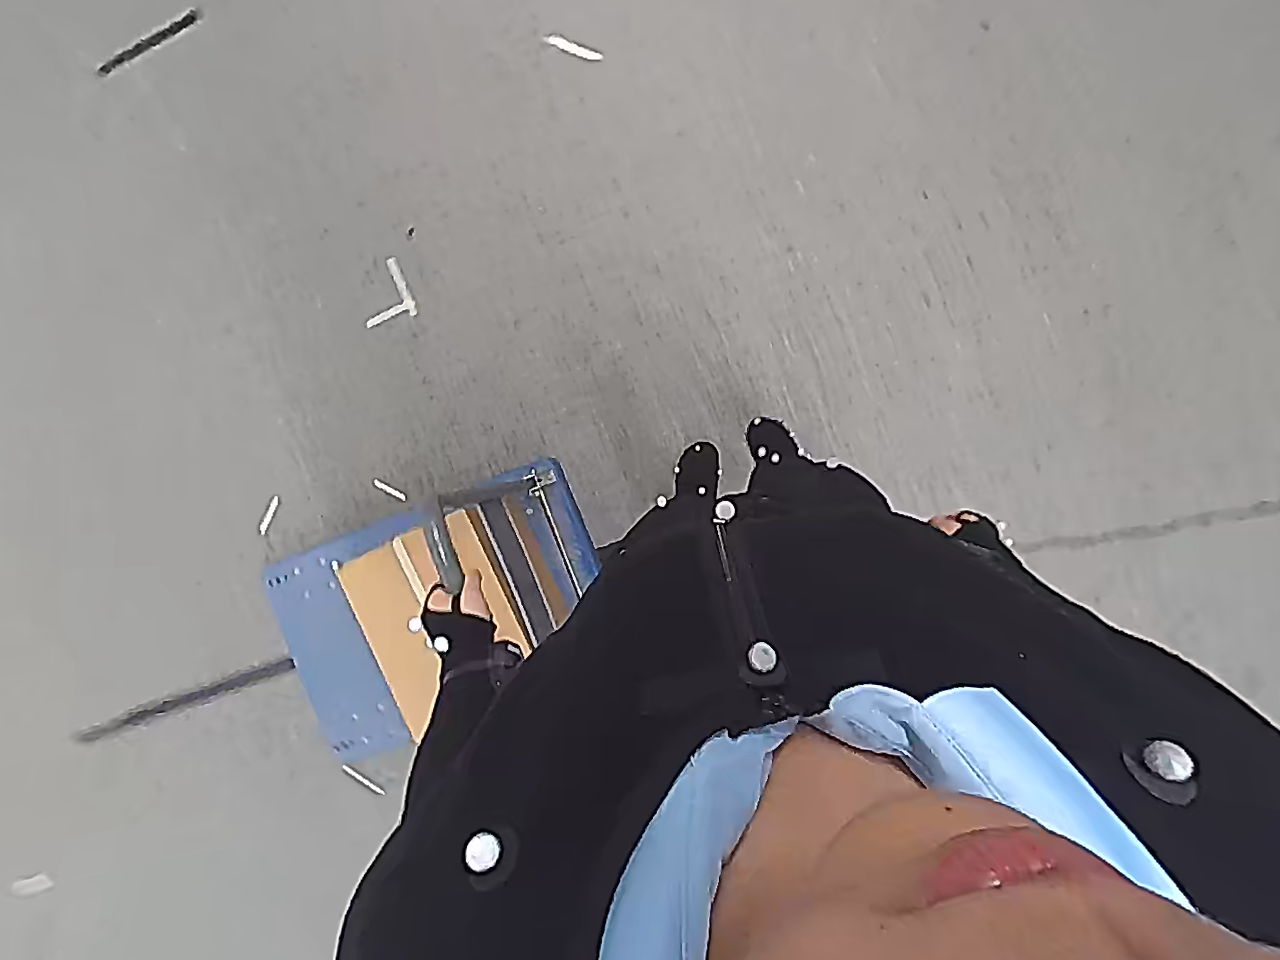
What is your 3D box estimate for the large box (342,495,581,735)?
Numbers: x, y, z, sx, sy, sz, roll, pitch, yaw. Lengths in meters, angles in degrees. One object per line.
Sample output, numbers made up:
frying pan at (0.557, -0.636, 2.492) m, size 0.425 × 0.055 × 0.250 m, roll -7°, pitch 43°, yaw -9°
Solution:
large box at (-0.381, 0.283, 1.246) m, size 0.320 × 0.320 × 0.408 m, roll -24°, pitch 90°, yaw 6°
